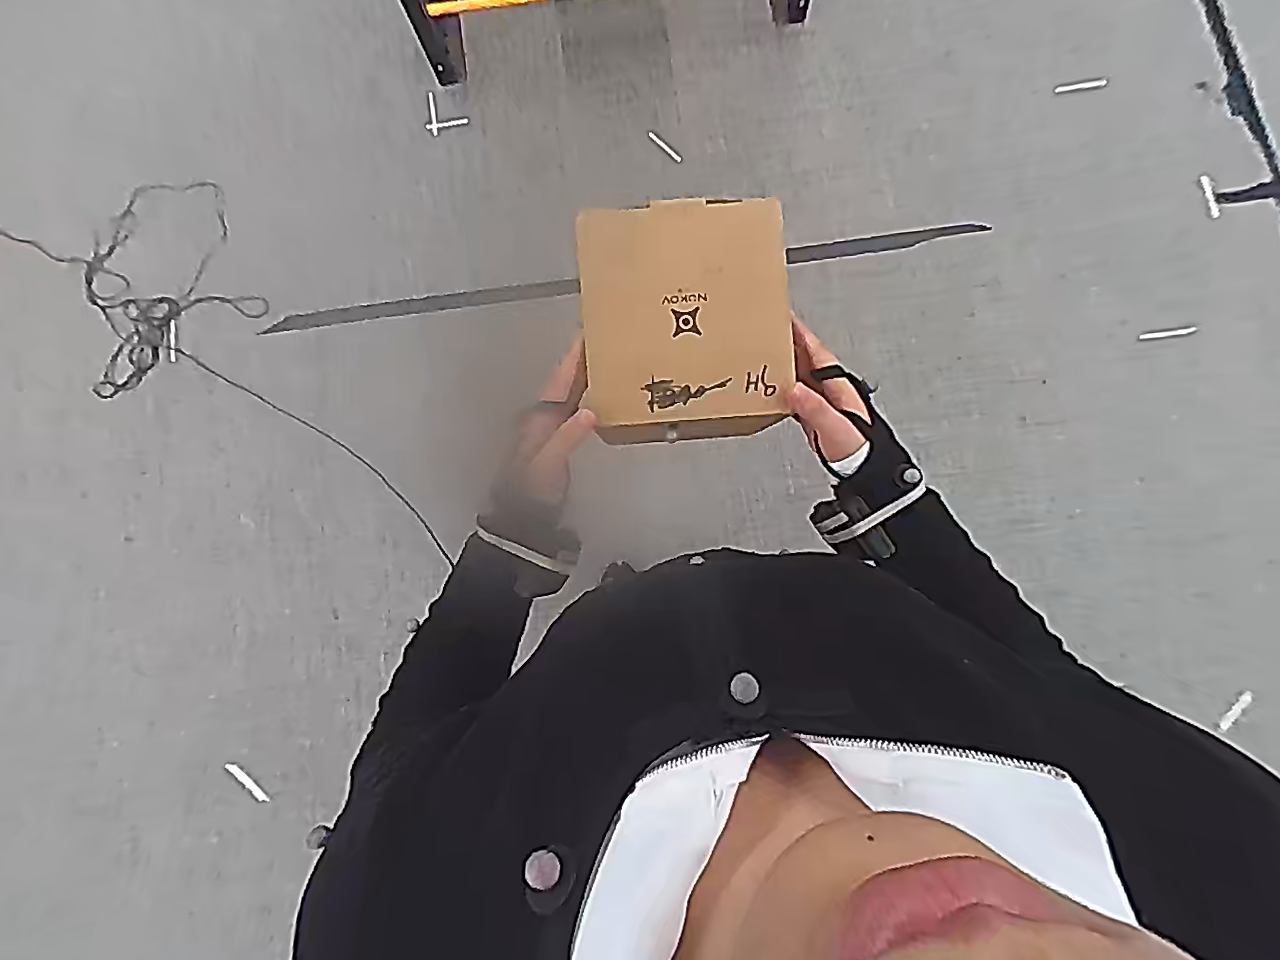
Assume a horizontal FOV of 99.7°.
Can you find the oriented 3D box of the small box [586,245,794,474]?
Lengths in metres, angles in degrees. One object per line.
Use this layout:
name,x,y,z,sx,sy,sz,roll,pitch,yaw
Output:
small box,0.039,-0.101,0.522,0.168,0.176,0.179,-4,88,0
